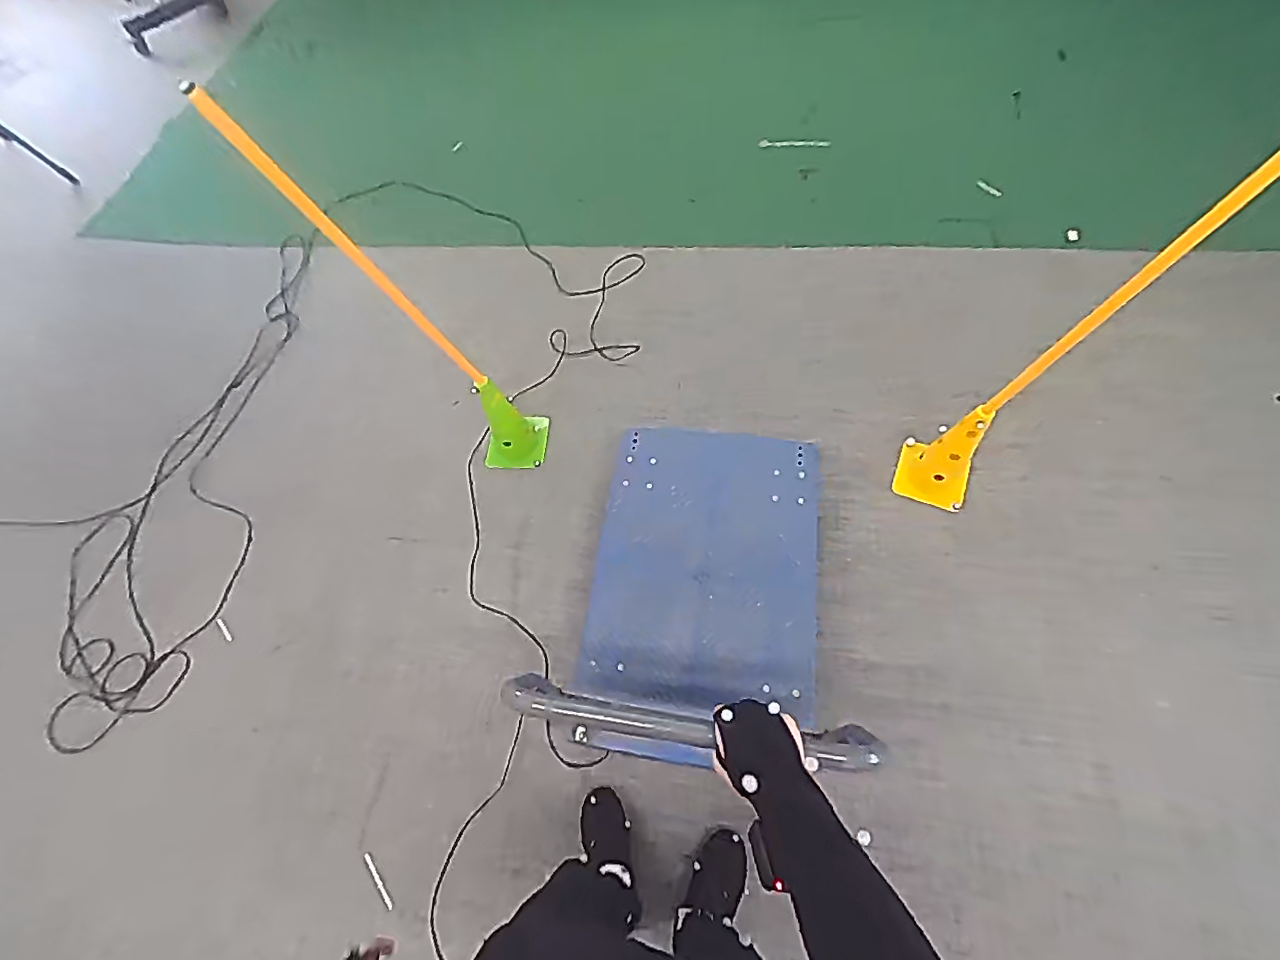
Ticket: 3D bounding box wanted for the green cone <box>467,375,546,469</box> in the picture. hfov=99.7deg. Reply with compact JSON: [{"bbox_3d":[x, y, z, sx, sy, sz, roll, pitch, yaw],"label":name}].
[{"bbox_3d":[-0.445,-0.204,1.686,0.202,0.368,0.200,0,63,8],"label":"green cone"}]
